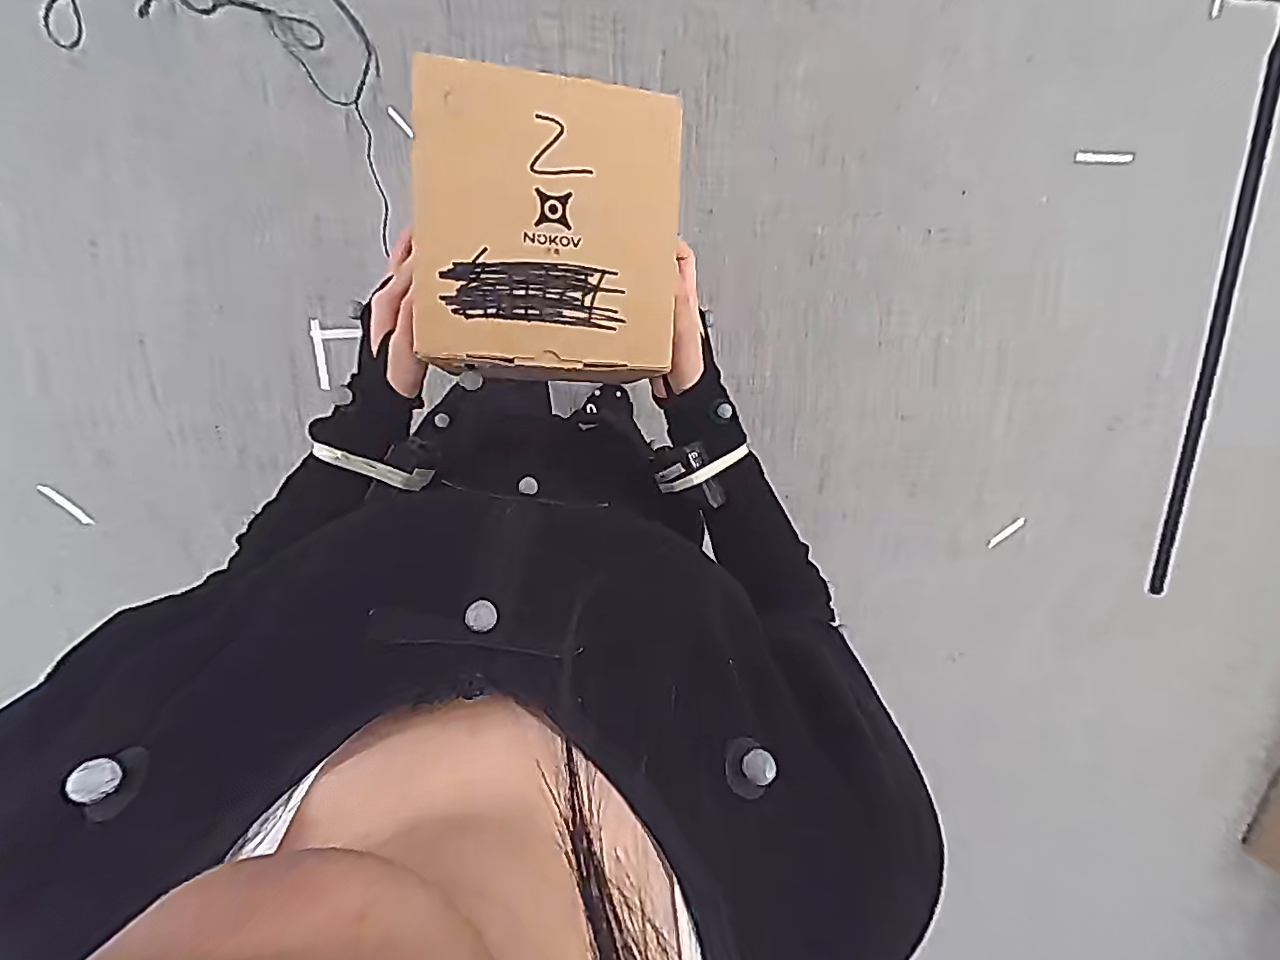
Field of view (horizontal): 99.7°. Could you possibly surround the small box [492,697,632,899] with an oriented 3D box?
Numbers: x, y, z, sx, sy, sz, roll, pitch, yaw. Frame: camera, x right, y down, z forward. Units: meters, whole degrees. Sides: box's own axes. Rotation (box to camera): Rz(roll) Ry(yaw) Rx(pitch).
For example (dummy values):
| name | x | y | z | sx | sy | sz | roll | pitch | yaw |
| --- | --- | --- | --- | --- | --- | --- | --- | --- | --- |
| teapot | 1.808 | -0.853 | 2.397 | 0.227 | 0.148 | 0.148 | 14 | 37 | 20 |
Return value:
| name | x | y | z | sx | sy | sz | roll | pitch | yaw |
| --- | --- | --- | --- | --- | --- | --- | --- | --- | --- |
| small box | -0.098 | 0.412 | 0.729 | 0.168 | 0.176 | 0.179 | -1 | 104 | -3 |
